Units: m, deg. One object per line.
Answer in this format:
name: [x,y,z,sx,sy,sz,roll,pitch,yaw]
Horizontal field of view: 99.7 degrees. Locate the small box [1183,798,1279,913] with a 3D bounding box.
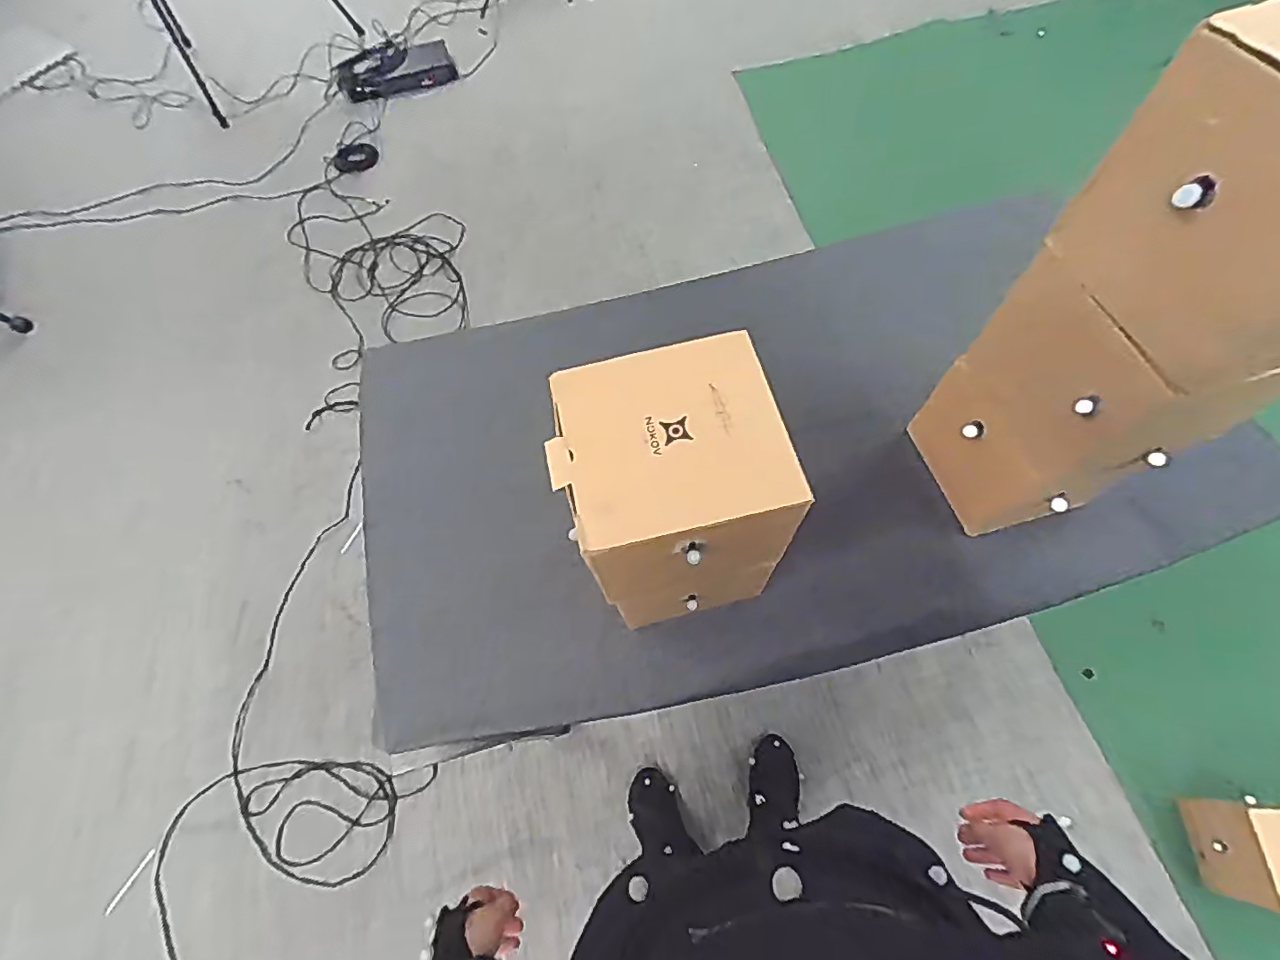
small box: [1.223,0.725,1.049,0.179,0.176,0.168,0,67,4]

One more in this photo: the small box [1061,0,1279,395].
small box: [0.444,-0.188,0.358,0.168,0.176,0.179,-18,64,-3]

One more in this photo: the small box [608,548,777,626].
small box: [0.041,0.063,0.639,0.179,0.176,0.168,-14,65,-1]

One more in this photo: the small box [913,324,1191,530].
small box: [0.471,-0.052,0.656,0.168,0.176,0.179,-15,64,-2]

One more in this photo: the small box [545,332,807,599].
small box: [0.027,-0.001,0.491,0.179,0.176,0.168,-13,66,-2]
